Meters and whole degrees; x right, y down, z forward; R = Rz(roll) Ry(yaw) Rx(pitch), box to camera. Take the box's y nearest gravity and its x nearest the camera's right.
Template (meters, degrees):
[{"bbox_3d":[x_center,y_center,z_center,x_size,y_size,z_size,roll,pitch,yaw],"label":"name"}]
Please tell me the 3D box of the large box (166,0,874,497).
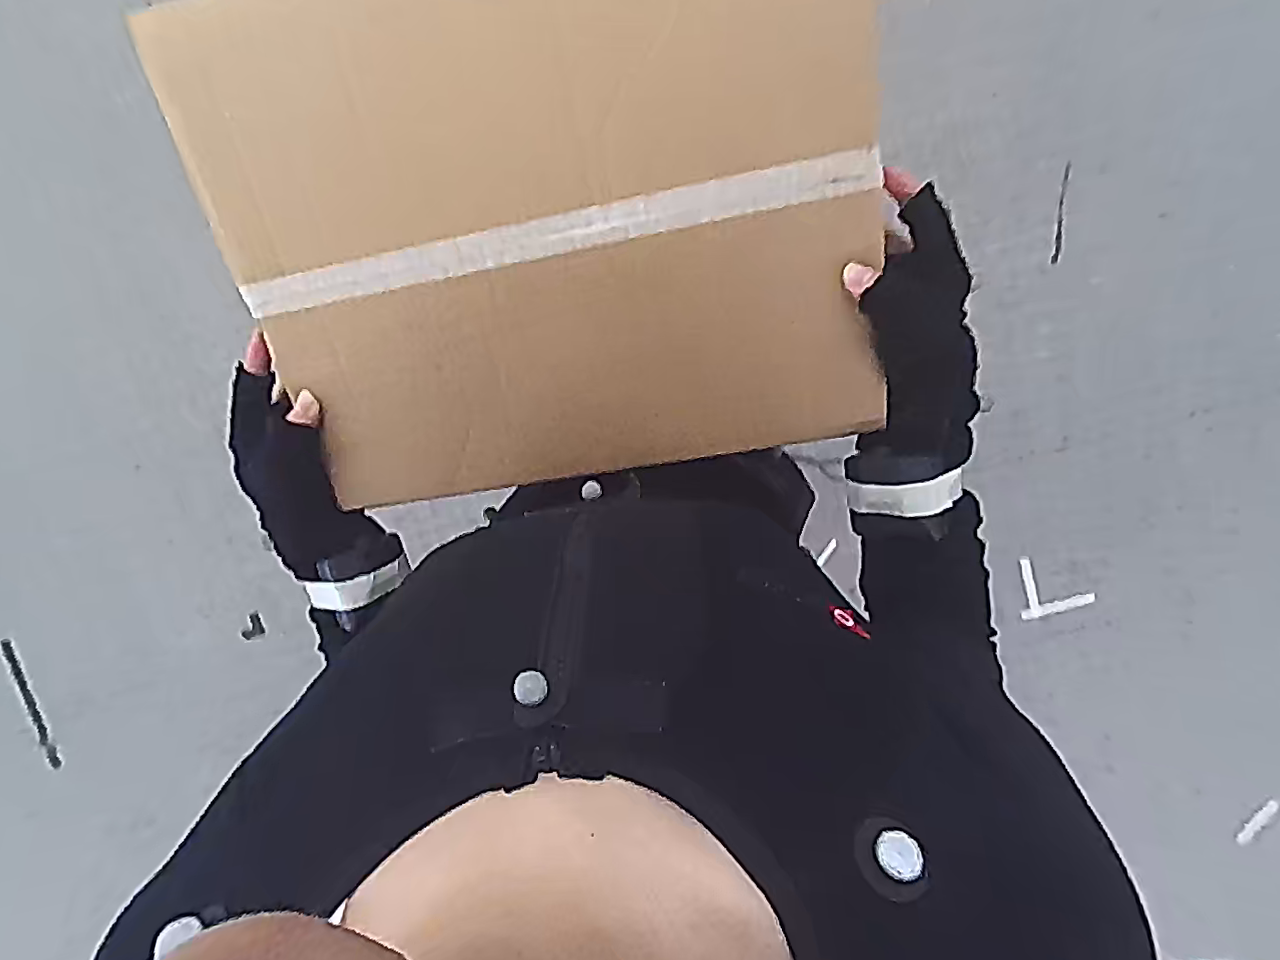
[{"bbox_3d":[-0.053,-0.210,0.483,0.408,0.320,0.320,-9,112,7],"label":"large box"}]
